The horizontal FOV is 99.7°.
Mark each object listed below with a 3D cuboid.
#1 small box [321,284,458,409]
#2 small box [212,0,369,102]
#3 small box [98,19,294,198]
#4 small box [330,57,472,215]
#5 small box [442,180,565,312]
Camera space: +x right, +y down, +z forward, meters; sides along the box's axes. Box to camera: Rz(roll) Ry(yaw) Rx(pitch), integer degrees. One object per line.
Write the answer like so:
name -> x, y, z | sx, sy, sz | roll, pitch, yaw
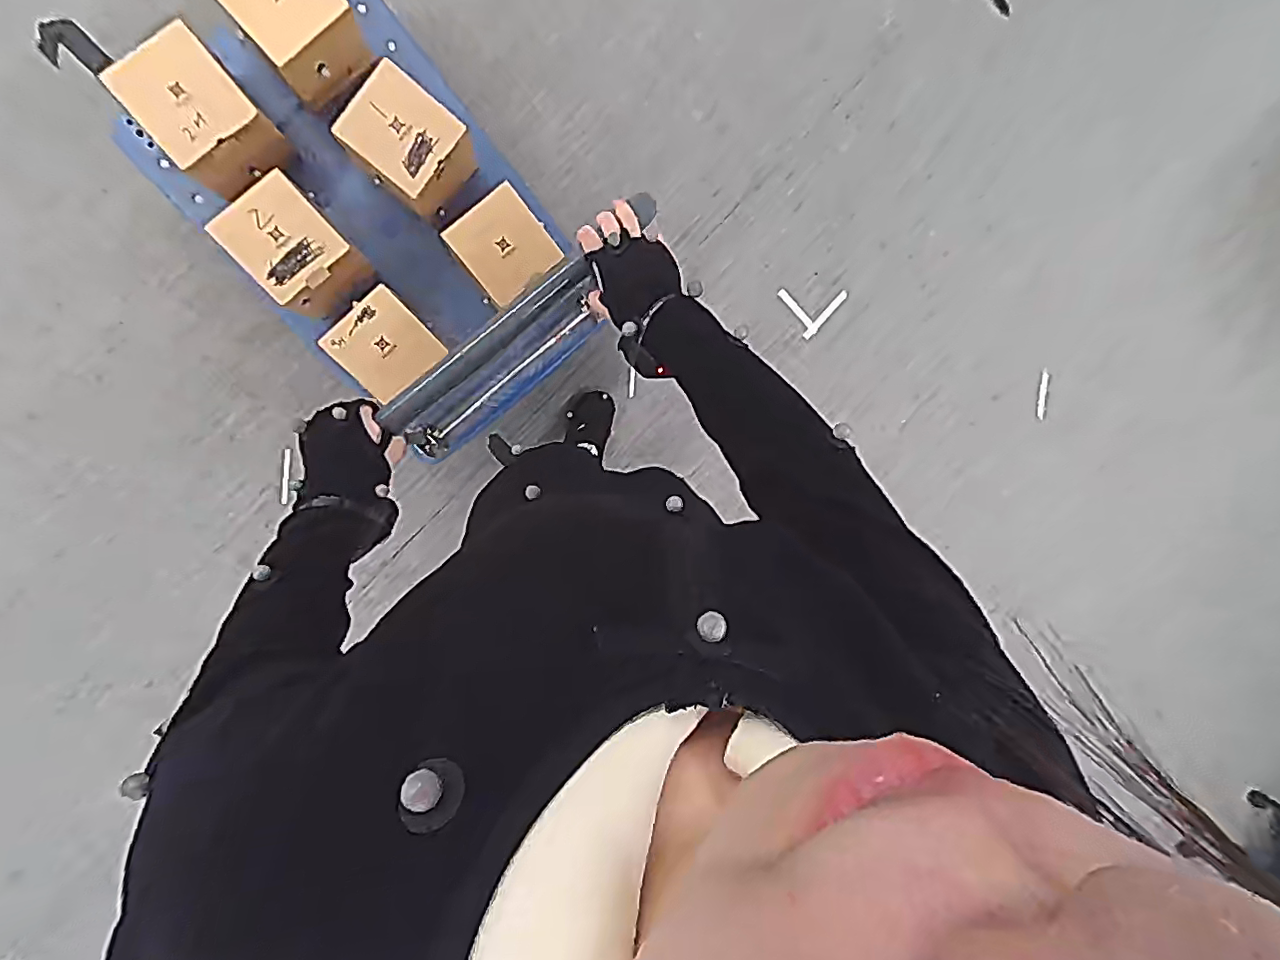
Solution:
small box -> -0.493, -0.265, 1.100 | 0.168, 0.176, 0.179 | -45, 105, -3
small box -> -0.632, -0.834, 0.981 | 0.168, 0.176, 0.179 | -44, 104, -2
small box -> -0.782, -0.653, 0.977 | 0.168, 0.176, 0.179 | -40, 105, -3
small box -> -0.447, -0.646, 1.049 | 0.179, 0.176, 0.168 | 37, 90, -14
small box -> -0.274, -0.466, 1.115 | 0.168, 0.176, 0.179 | -41, 104, -3
